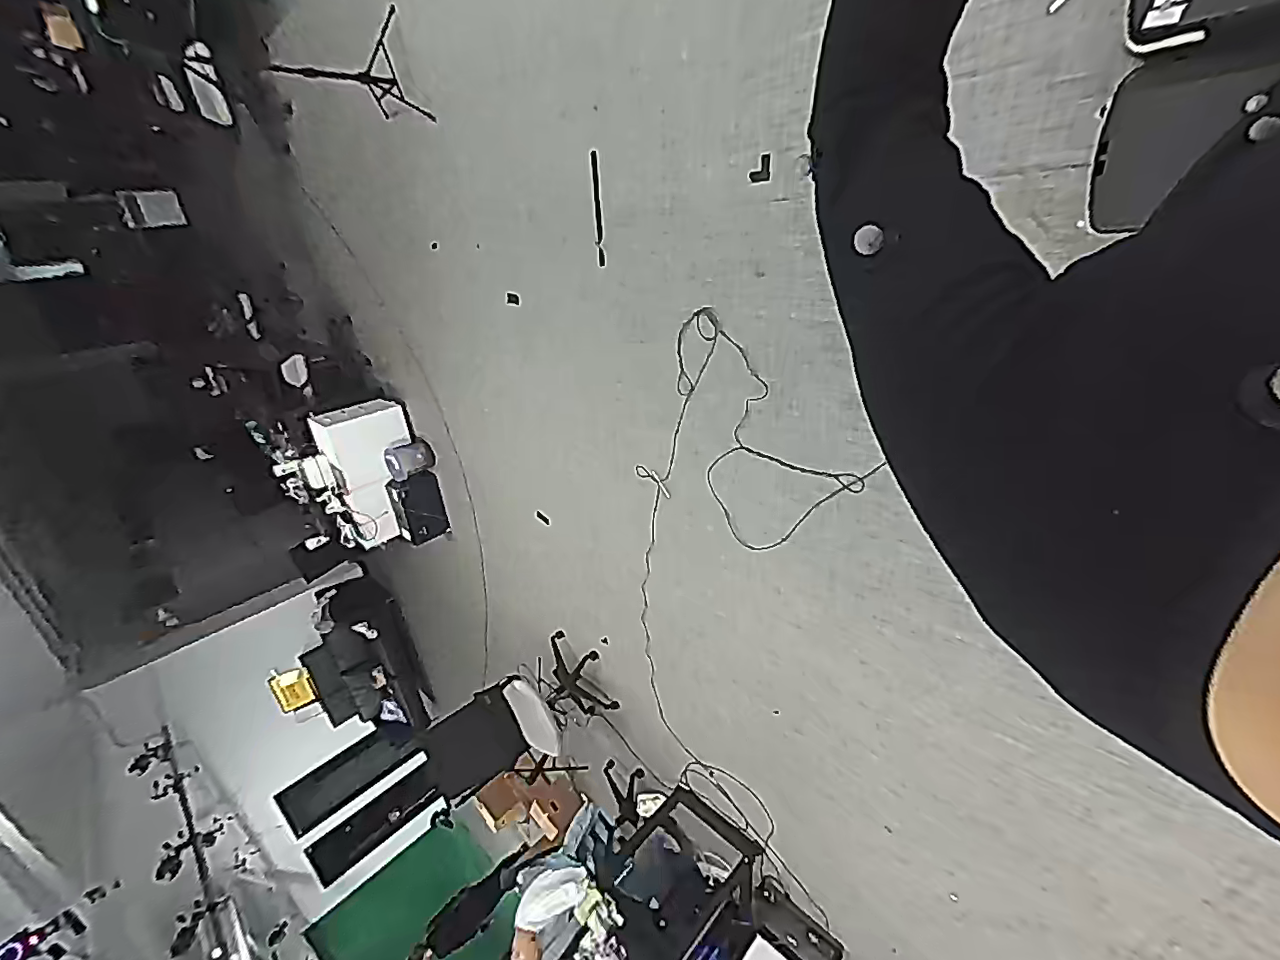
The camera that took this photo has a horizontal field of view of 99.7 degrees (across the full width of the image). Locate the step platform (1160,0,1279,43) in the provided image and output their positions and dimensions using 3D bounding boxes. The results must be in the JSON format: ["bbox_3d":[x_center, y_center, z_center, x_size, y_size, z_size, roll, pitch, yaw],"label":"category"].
[{"bbox_3d":[1.109,-0.811,0.655,0.684,0.204,0.286,16,123,41],"label":"step platform"}]
